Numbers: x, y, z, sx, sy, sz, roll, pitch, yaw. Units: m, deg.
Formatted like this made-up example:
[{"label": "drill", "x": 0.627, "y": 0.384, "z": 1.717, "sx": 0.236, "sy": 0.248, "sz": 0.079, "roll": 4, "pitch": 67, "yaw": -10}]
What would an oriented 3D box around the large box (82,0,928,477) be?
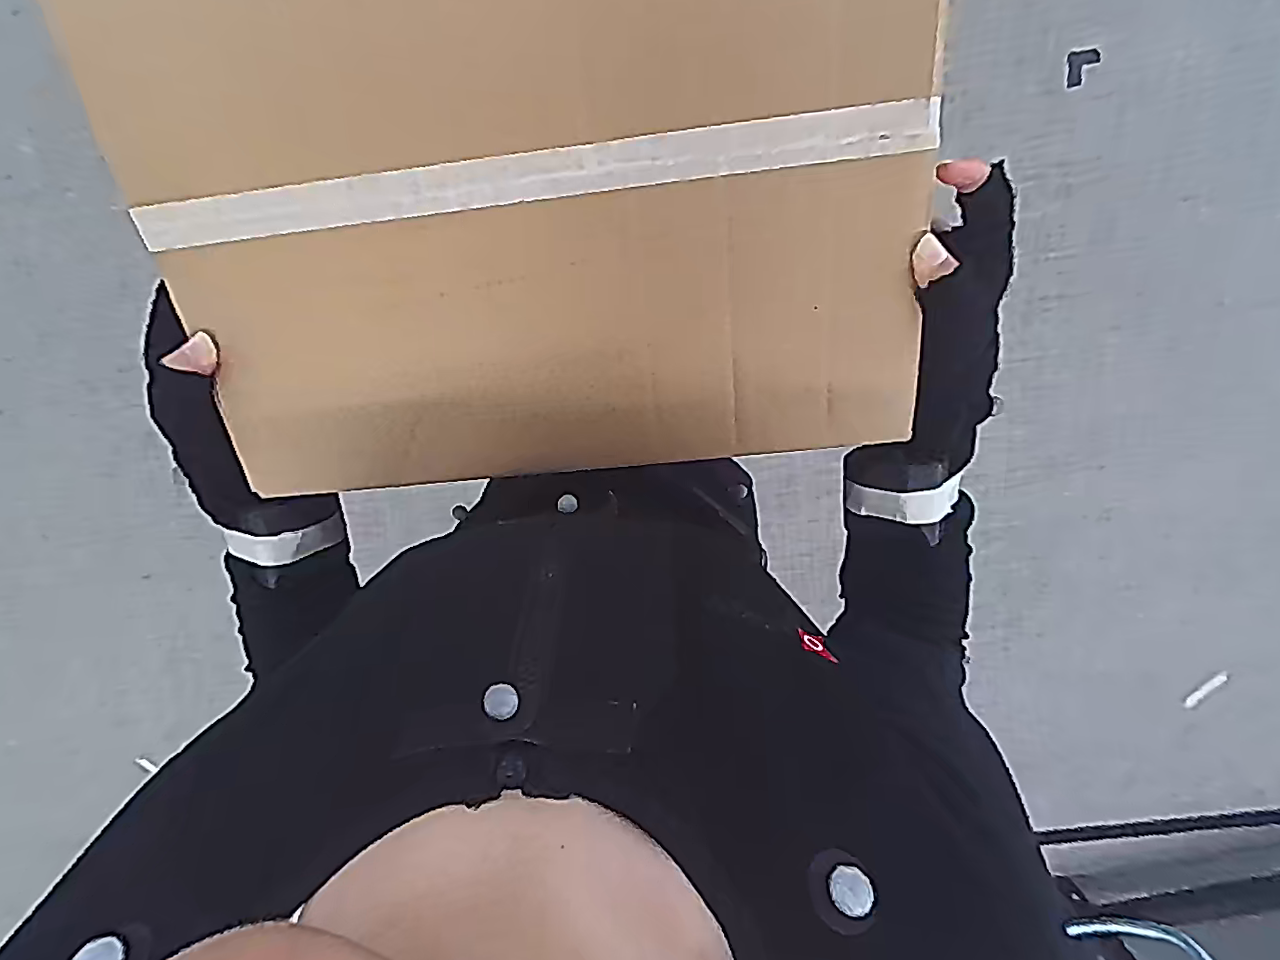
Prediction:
[{"label": "large box", "x": -0.057, "y": -0.218, "z": 0.417, "sx": 0.408, "sy": 0.320, "sz": 0.320, "roll": -5, "pitch": 114, "yaw": 4}]
